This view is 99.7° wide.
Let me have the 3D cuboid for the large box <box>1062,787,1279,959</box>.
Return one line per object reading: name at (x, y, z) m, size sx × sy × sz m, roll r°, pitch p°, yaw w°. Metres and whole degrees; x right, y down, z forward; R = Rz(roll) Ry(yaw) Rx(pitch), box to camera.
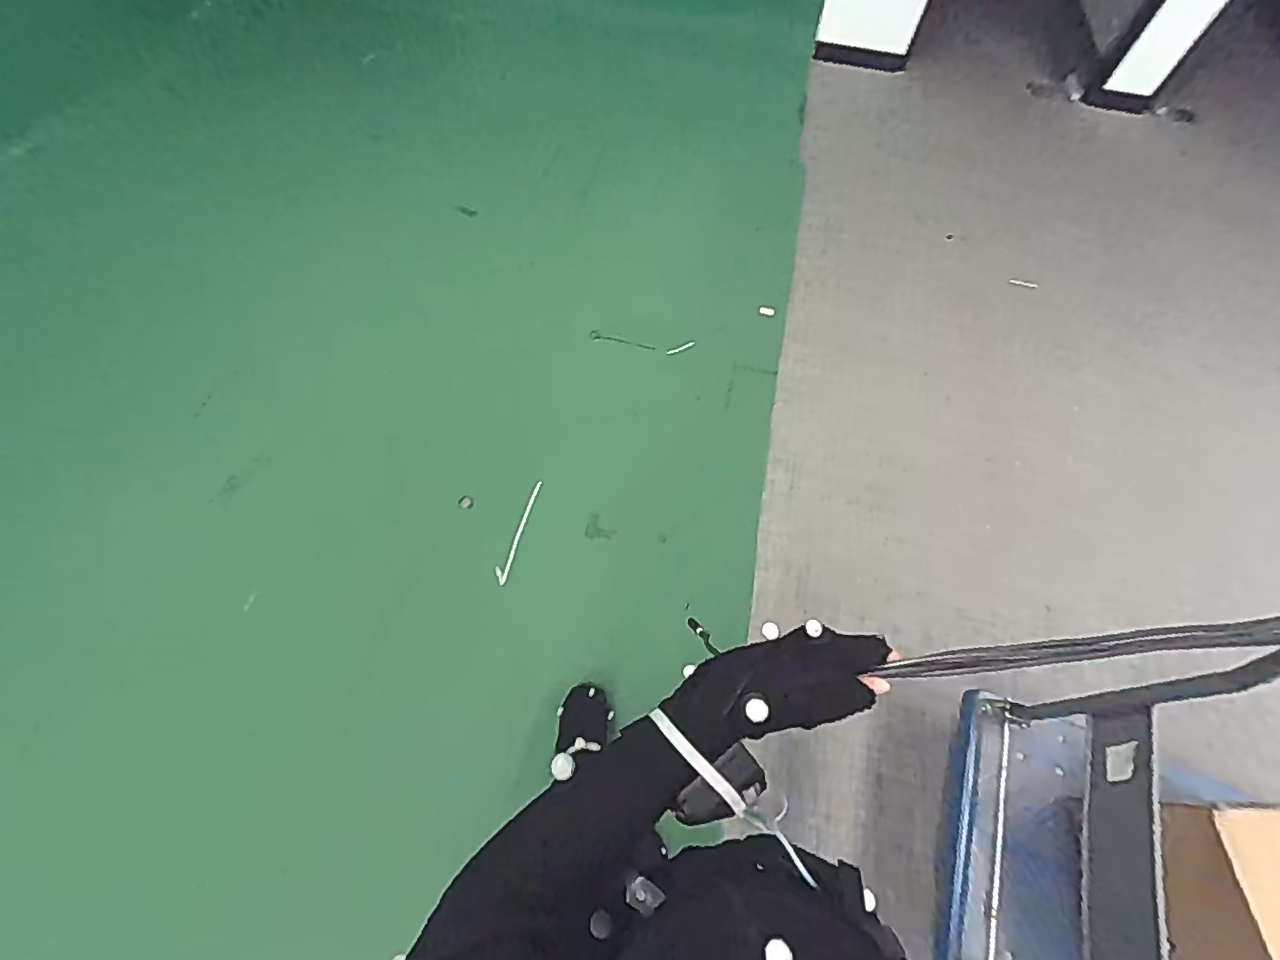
large box at (1.029, 0.752, 0.907) m, size 0.320 × 0.320 × 0.408 m, roll 1°, pitch 61°, yaw -3°
